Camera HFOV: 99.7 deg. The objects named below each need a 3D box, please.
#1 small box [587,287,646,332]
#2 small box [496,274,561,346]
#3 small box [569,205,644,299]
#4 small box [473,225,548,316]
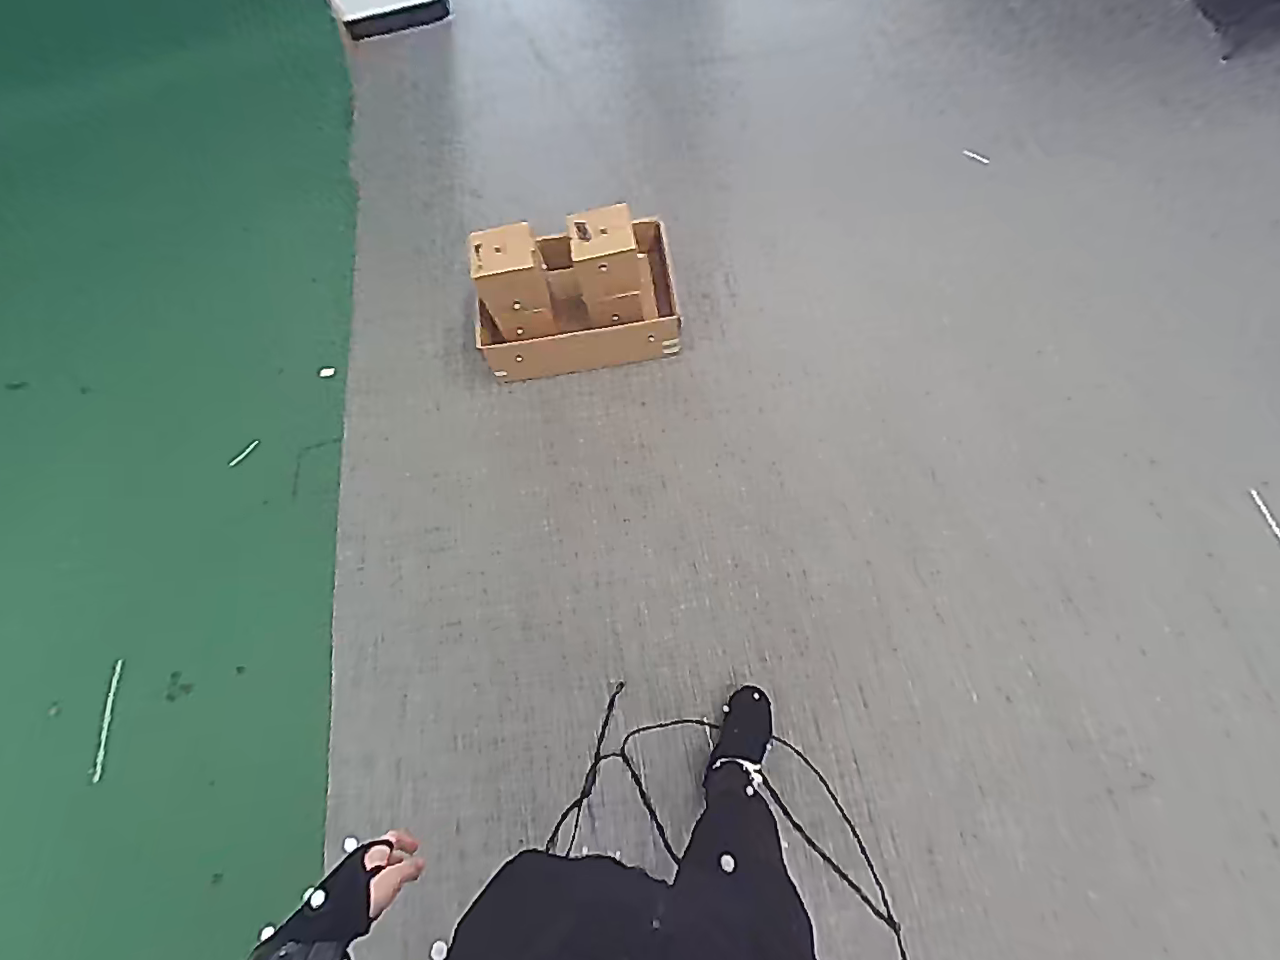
[{"bbox_3d":[-0.074,-0.583,1.698,0.168,0.176,0.179,-7,68,4],"label":"small box"},{"bbox_3d":[-0.352,-0.542,1.712,0.168,0.176,0.179,-8,68,2],"label":"small box"},{"bbox_3d":[-0.092,-0.642,1.545,0.179,0.176,0.168,-11,69,2],"label":"small box"},{"bbox_3d":[-0.366,-0.599,1.558,0.179,0.176,0.168,-9,67,1],"label":"small box"}]
